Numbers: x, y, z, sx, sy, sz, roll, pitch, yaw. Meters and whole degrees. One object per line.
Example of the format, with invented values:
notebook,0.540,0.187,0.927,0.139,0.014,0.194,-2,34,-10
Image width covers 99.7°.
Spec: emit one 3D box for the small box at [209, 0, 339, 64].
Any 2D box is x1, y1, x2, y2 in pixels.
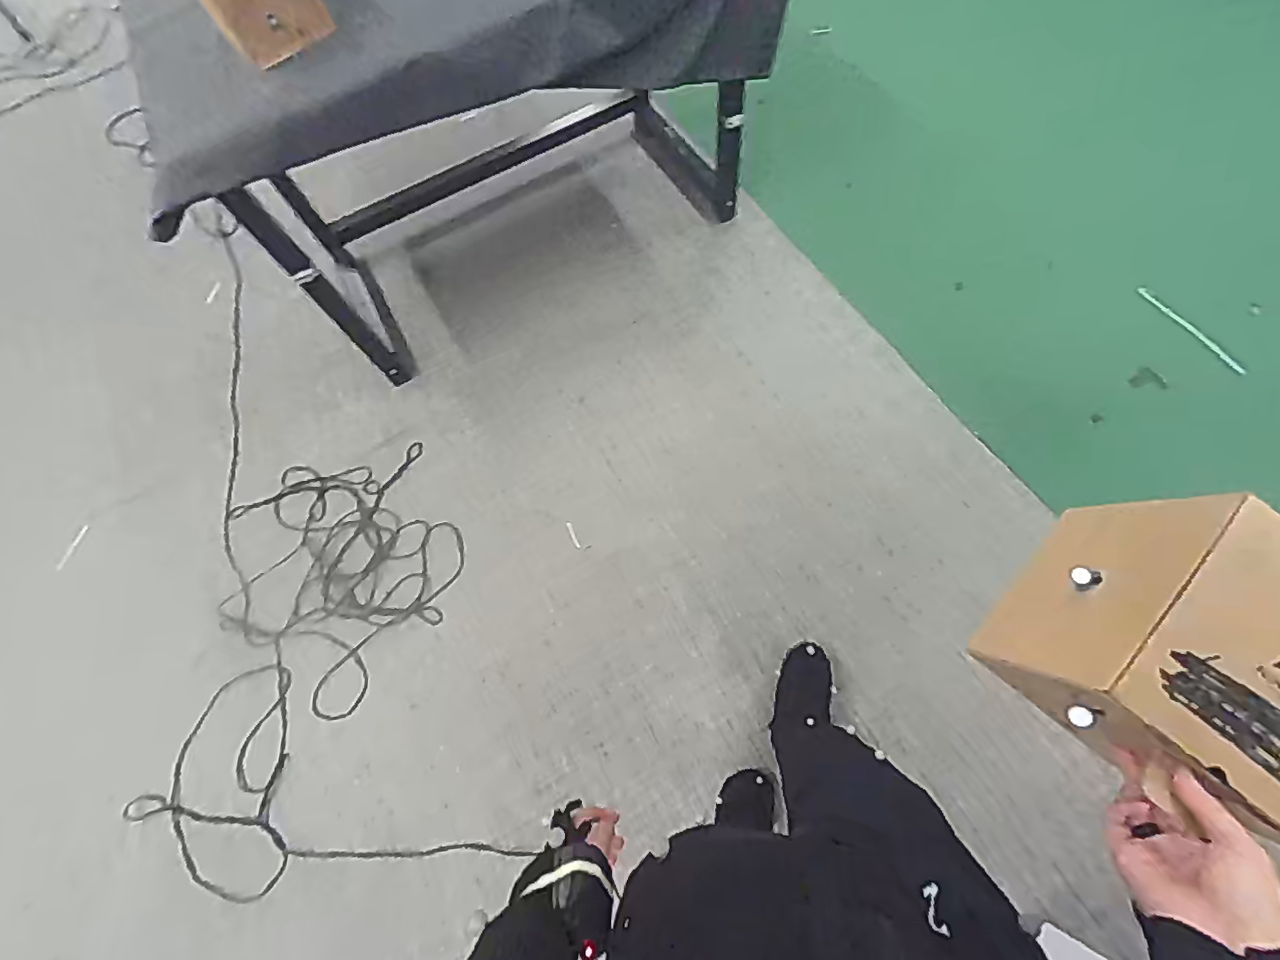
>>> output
small box,-0.681,-0.885,0.955,0.168,0.176,0.179,-39,70,-11
